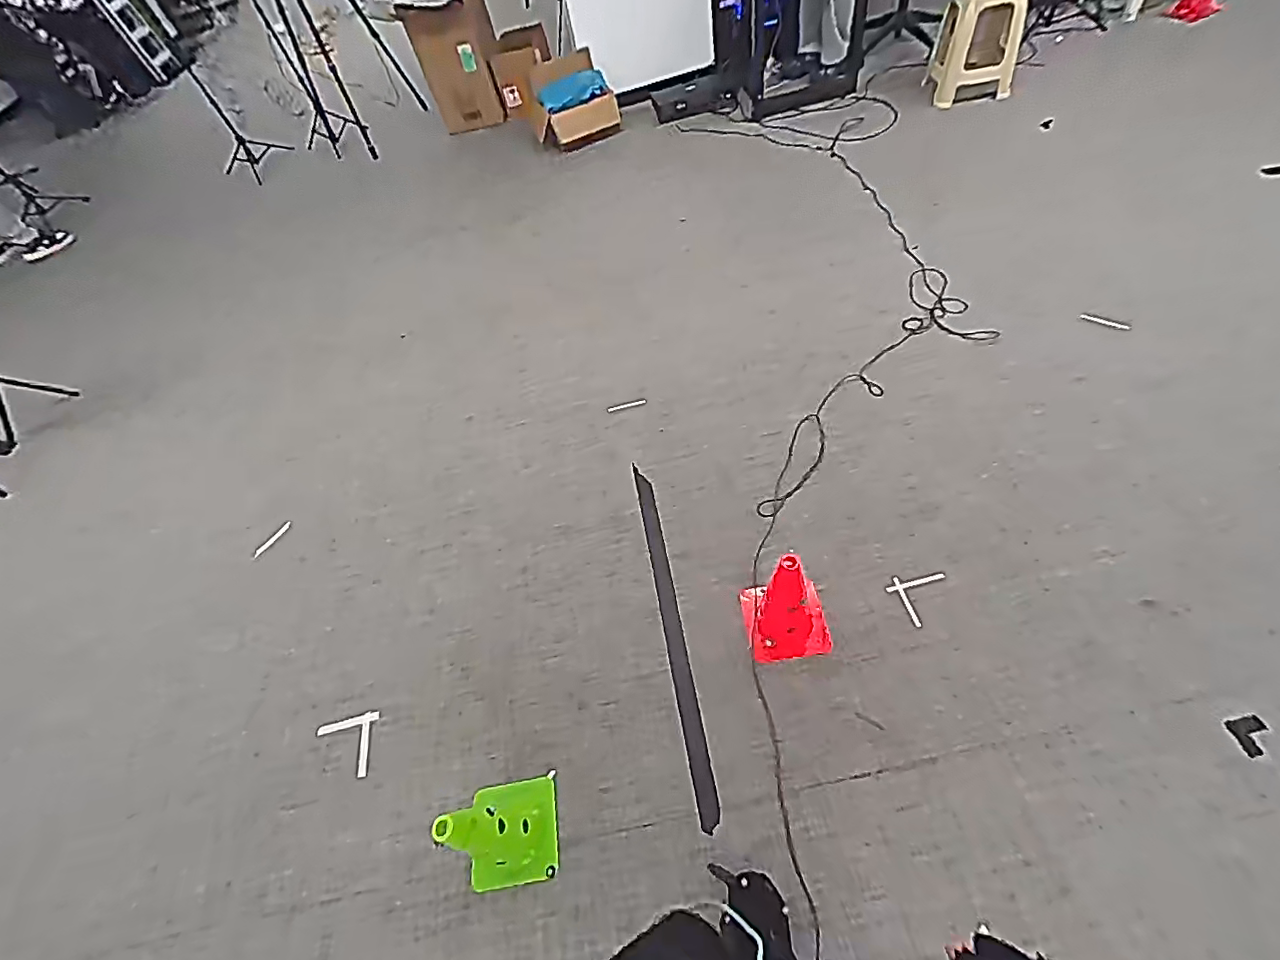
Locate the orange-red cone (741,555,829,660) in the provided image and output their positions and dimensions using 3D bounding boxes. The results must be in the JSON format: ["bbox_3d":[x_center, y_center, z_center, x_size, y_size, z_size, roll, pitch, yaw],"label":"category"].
[{"bbox_3d":[0.344,0.266,1.261,0.199,0.360,0.198,-9,55,5],"label":"orange-red cone"}]

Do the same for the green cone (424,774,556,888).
[{"bbox_3d":[-0.325,0.701,1.099,0.202,0.368,0.200,-14,54,4],"label":"green cone"}]
